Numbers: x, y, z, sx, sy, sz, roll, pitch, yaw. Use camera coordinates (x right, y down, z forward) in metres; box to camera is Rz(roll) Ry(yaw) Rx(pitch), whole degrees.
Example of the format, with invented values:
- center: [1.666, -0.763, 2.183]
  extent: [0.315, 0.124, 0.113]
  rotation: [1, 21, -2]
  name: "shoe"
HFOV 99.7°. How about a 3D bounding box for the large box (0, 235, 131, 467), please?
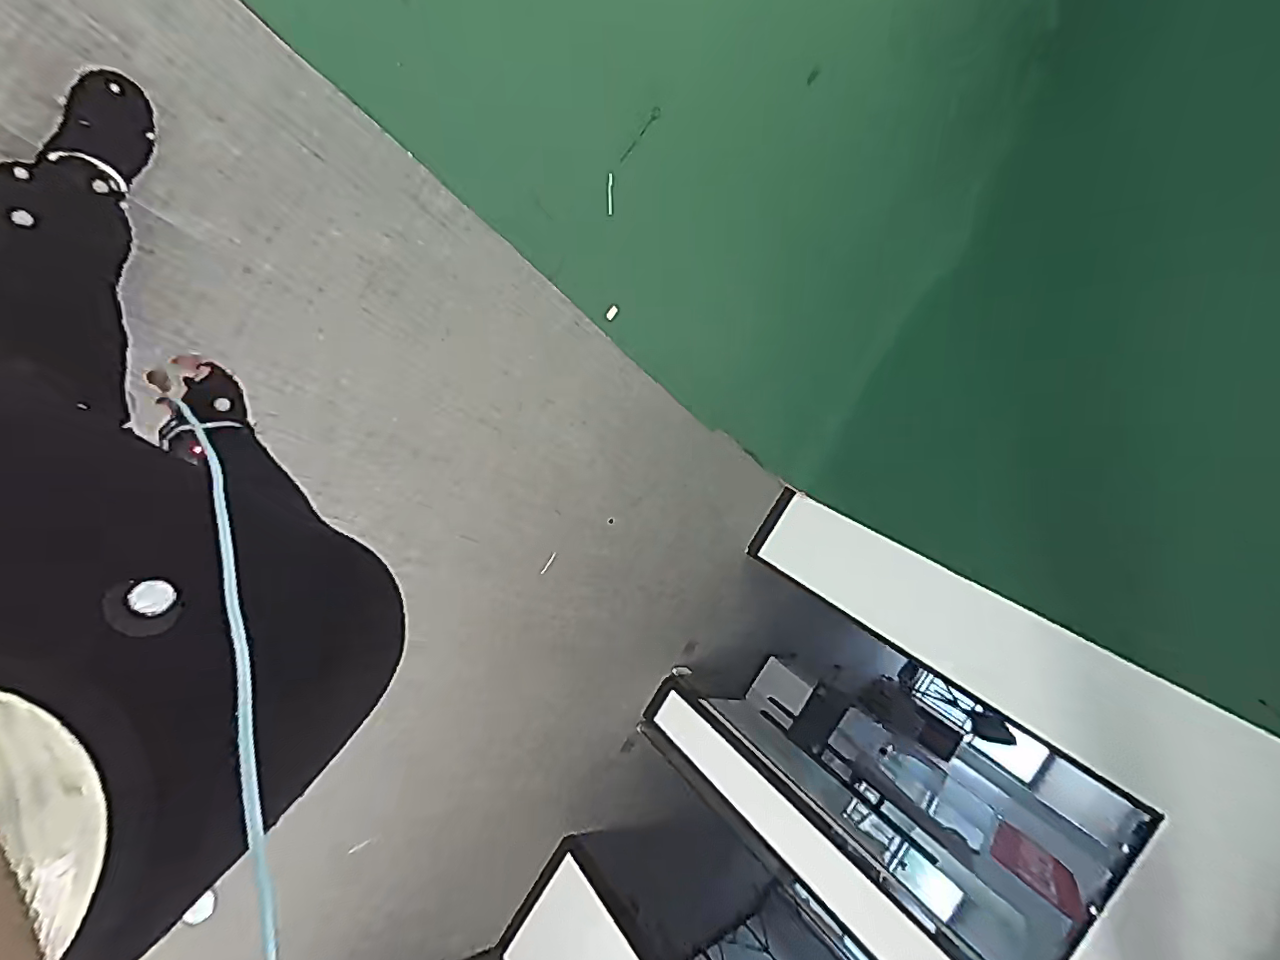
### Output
- center: [-1.170, -0.269, 0.888]
  extent: [0.408, 0.320, 0.320]
  rotation: [28, 94, -50]
  name: "large box"
